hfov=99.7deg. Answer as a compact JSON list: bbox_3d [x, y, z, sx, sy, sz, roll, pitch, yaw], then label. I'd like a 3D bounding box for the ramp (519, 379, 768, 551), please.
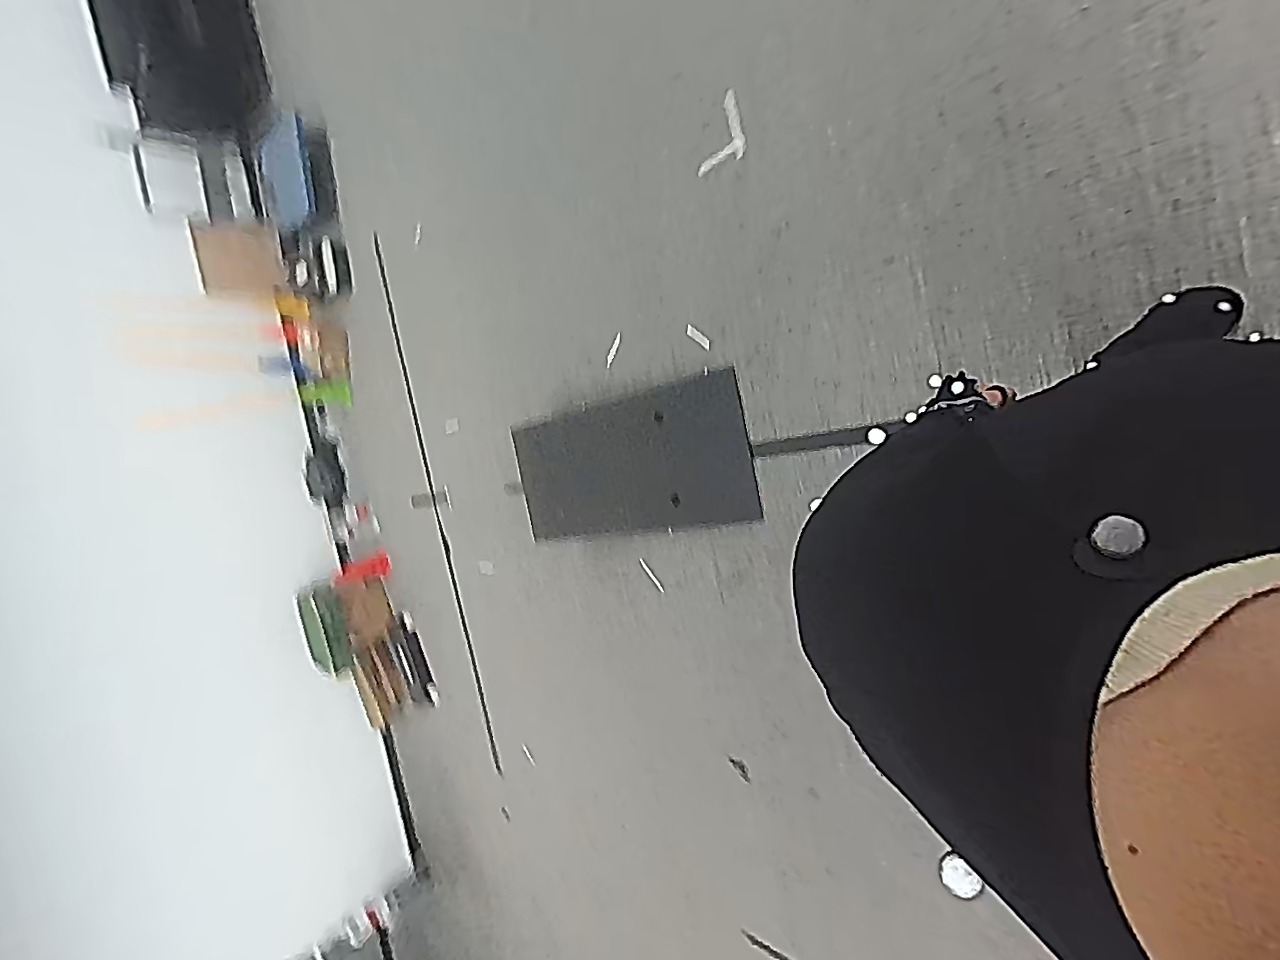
[{"bbox_3d":[-0.049,-0.013,1.943,0.991,0.206,0.509,-11,90,45],"label":"ramp"}]
